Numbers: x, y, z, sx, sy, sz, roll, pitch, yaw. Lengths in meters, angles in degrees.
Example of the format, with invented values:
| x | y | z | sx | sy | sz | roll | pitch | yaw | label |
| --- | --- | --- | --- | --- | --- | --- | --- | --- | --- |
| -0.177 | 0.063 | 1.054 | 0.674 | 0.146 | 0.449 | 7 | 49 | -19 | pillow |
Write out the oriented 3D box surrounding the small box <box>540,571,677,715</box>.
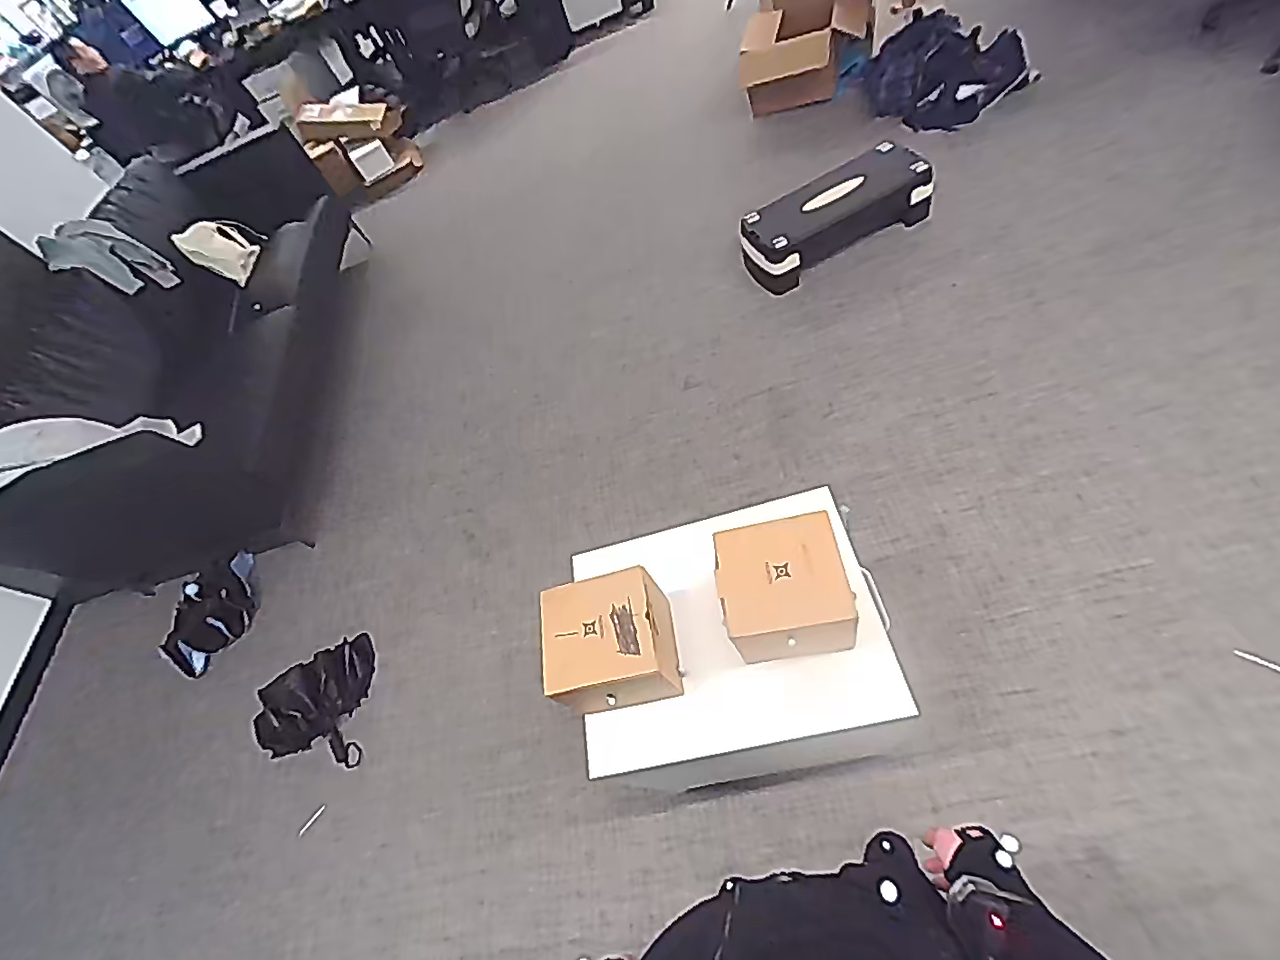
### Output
| x | y | z | sx | sy | sz | roll | pitch | yaw | label |
| --- | --- | --- | --- | --- | --- | --- | --- | --- | --- |
| -0.045 | 0.268 | 0.872 | 0.179 | 0.176 | 0.168 | -16 | 55 | 10 | small box |

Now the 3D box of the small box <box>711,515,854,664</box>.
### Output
| x | y | z | sx | sy | sz | roll | pitch | yaw | label |
| --- | --- | --- | --- | --- | --- | --- | --- | --- | --- |
| 0.219 | 0.177 | 0.835 | 0.179 | 0.176 | 0.168 | -13 | 57 | 12 | small box |
